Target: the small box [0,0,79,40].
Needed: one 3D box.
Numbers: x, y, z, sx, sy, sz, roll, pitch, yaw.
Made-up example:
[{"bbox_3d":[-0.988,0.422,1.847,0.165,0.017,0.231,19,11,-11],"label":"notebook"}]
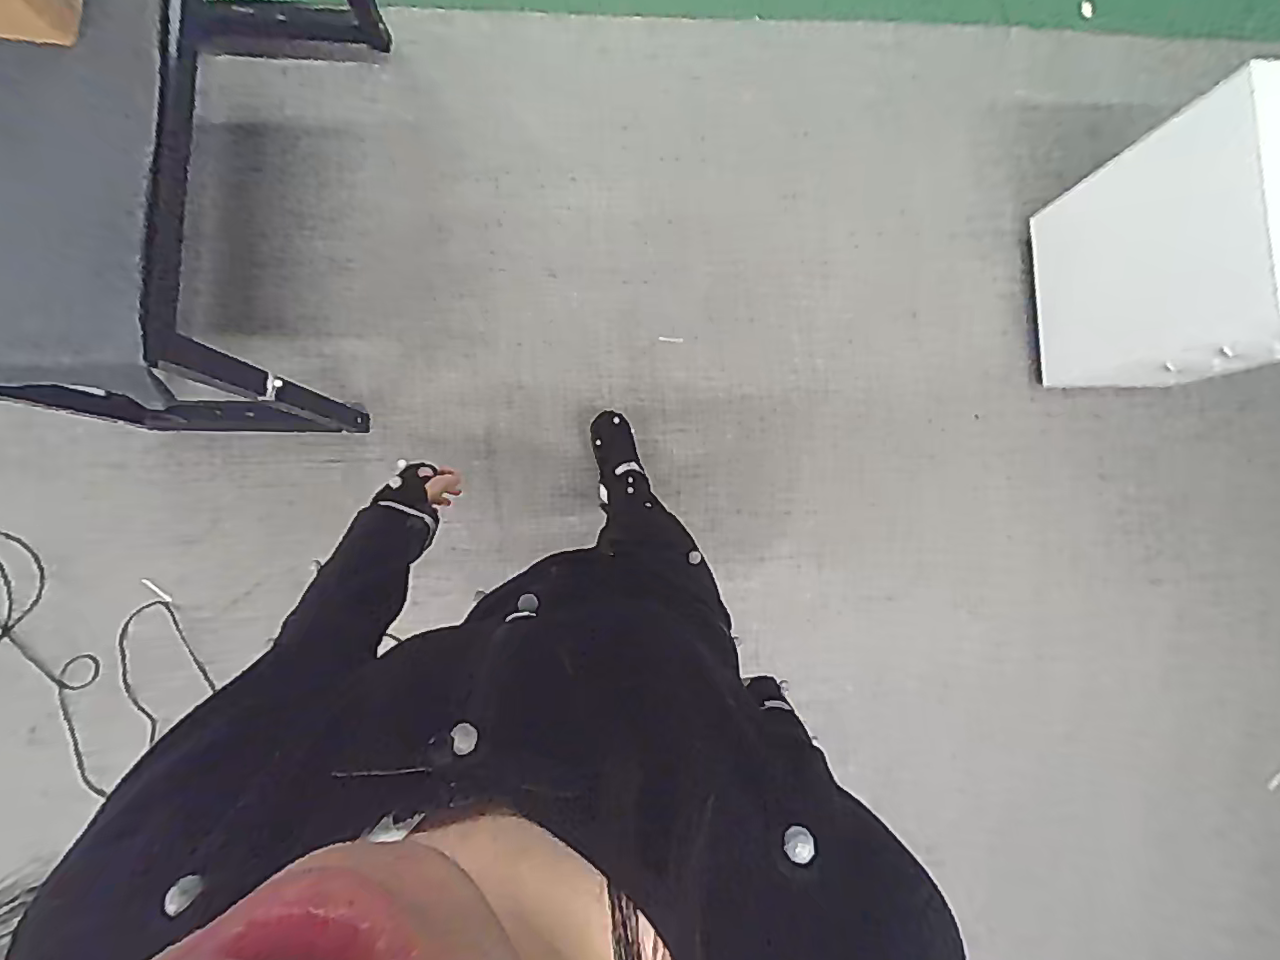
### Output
[{"bbox_3d":[-0.891,-0.721,0.699,0.179,0.176,0.168,6,85,-3],"label":"small box"}]
